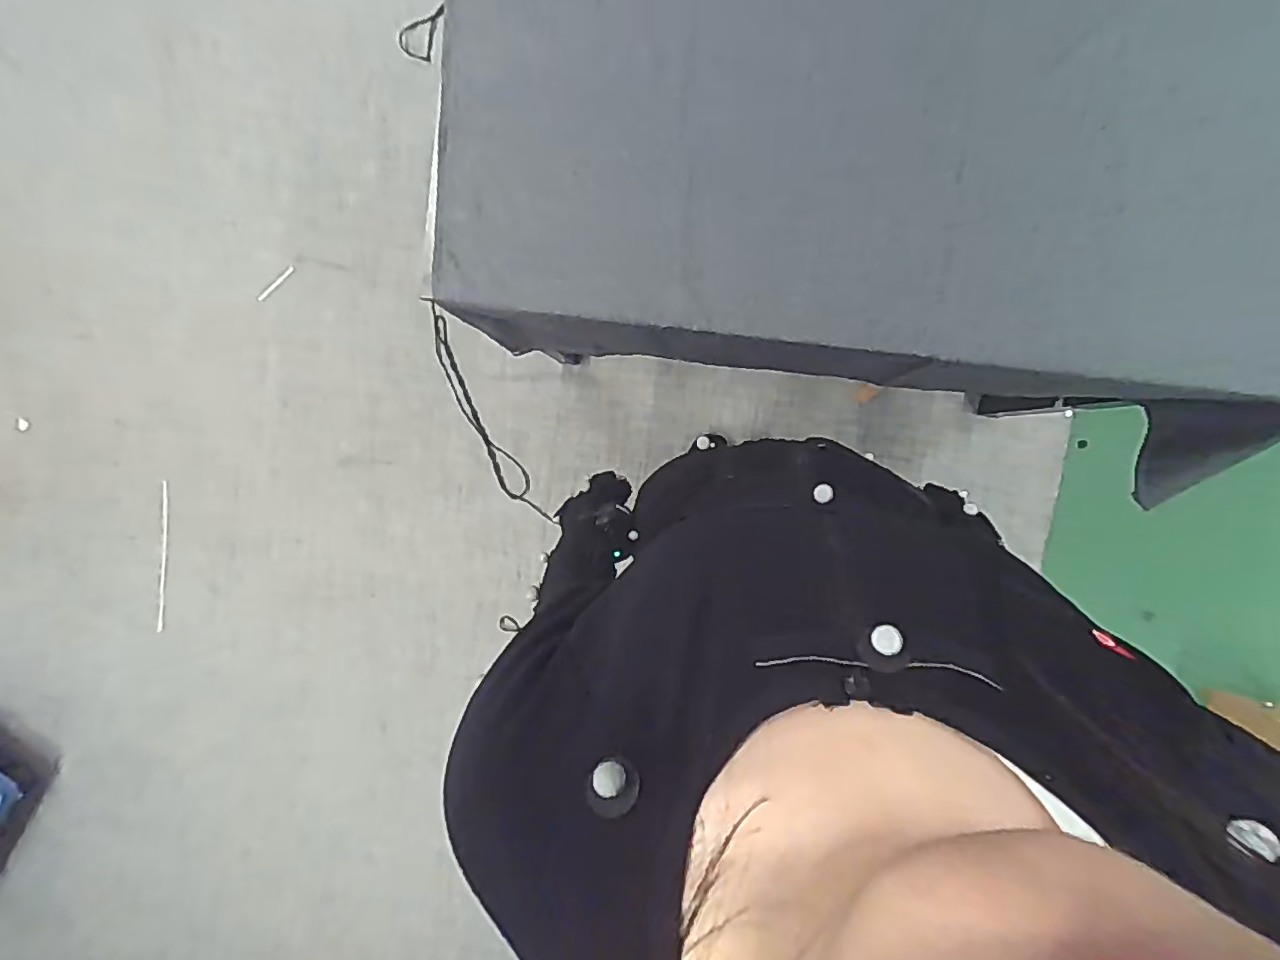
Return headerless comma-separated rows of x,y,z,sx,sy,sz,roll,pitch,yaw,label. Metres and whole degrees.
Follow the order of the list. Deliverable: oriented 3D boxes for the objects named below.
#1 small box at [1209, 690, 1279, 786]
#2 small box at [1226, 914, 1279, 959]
1.550,0.631,1.299,0.179,0.176,0.168,13,95,5,small box
1.452,1.100,1.177,0.179,0.176,0.168,8,96,6,small box
